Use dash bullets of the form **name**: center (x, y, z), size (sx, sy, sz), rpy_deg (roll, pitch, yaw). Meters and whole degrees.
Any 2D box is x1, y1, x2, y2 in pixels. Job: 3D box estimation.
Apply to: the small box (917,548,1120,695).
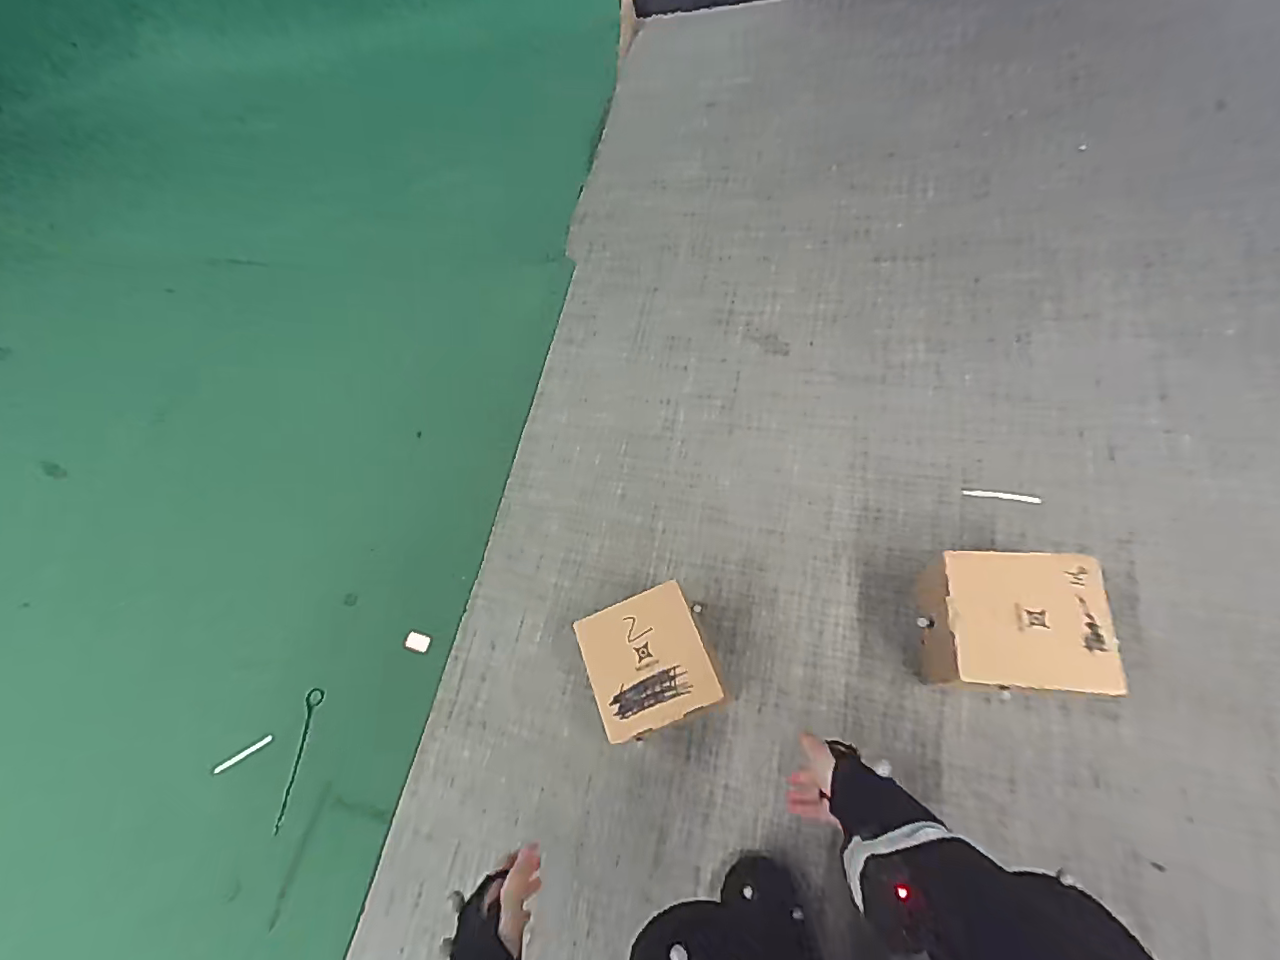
- **small box**: center (0.490, 0.196, 0.736), size (0.179, 0.176, 0.168), rpy_deg (0, 68, 14)
